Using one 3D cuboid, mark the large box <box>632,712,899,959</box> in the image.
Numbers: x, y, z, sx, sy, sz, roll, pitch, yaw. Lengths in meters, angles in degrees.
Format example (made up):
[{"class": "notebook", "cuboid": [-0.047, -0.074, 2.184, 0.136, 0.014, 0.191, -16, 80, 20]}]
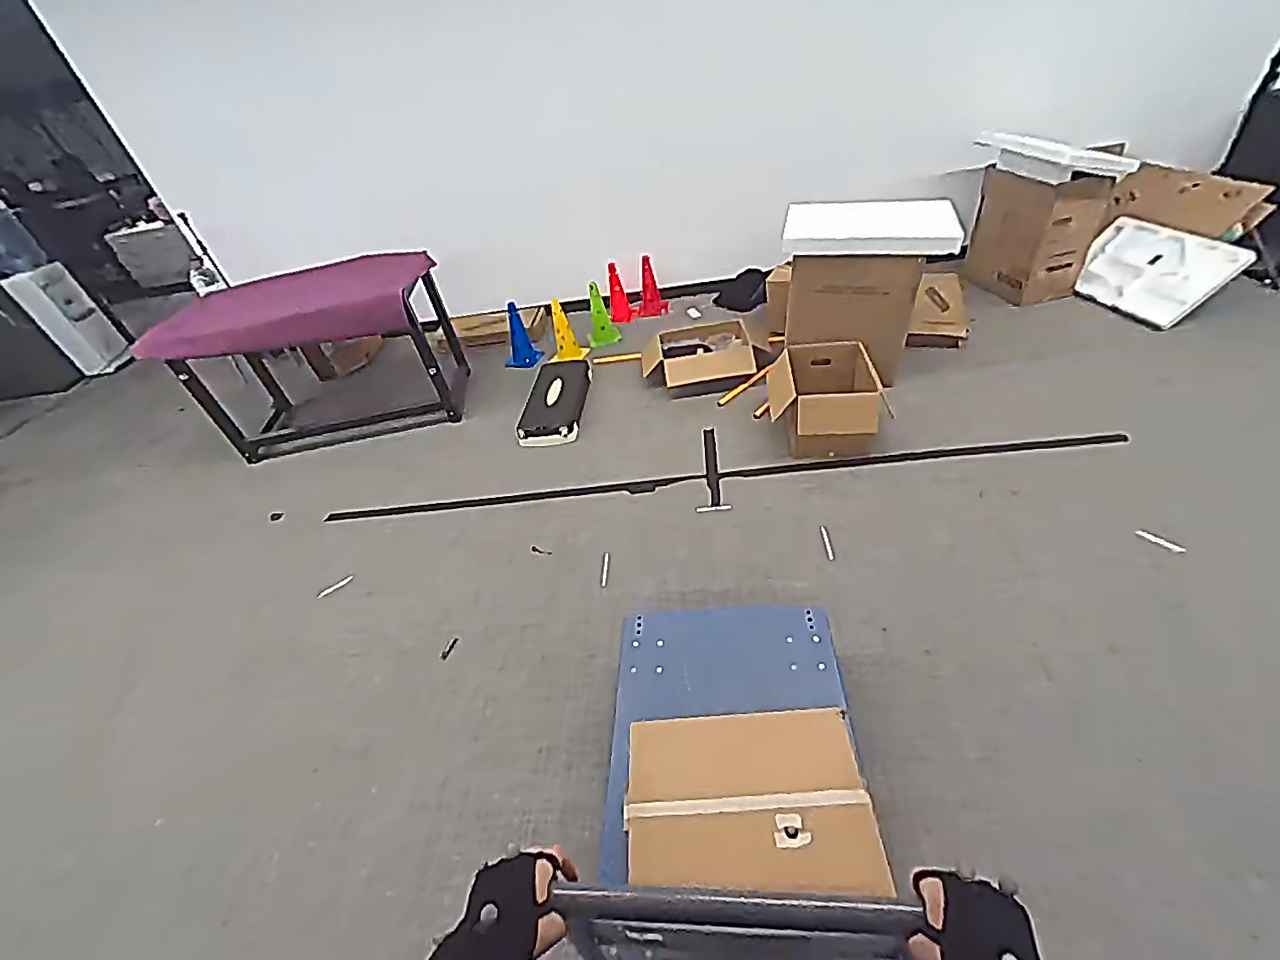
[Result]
[{"class": "large box", "cuboid": [0.202, 0.673, 1.016, 0.408, 0.320, 0.320, -6, 41, 4]}]
